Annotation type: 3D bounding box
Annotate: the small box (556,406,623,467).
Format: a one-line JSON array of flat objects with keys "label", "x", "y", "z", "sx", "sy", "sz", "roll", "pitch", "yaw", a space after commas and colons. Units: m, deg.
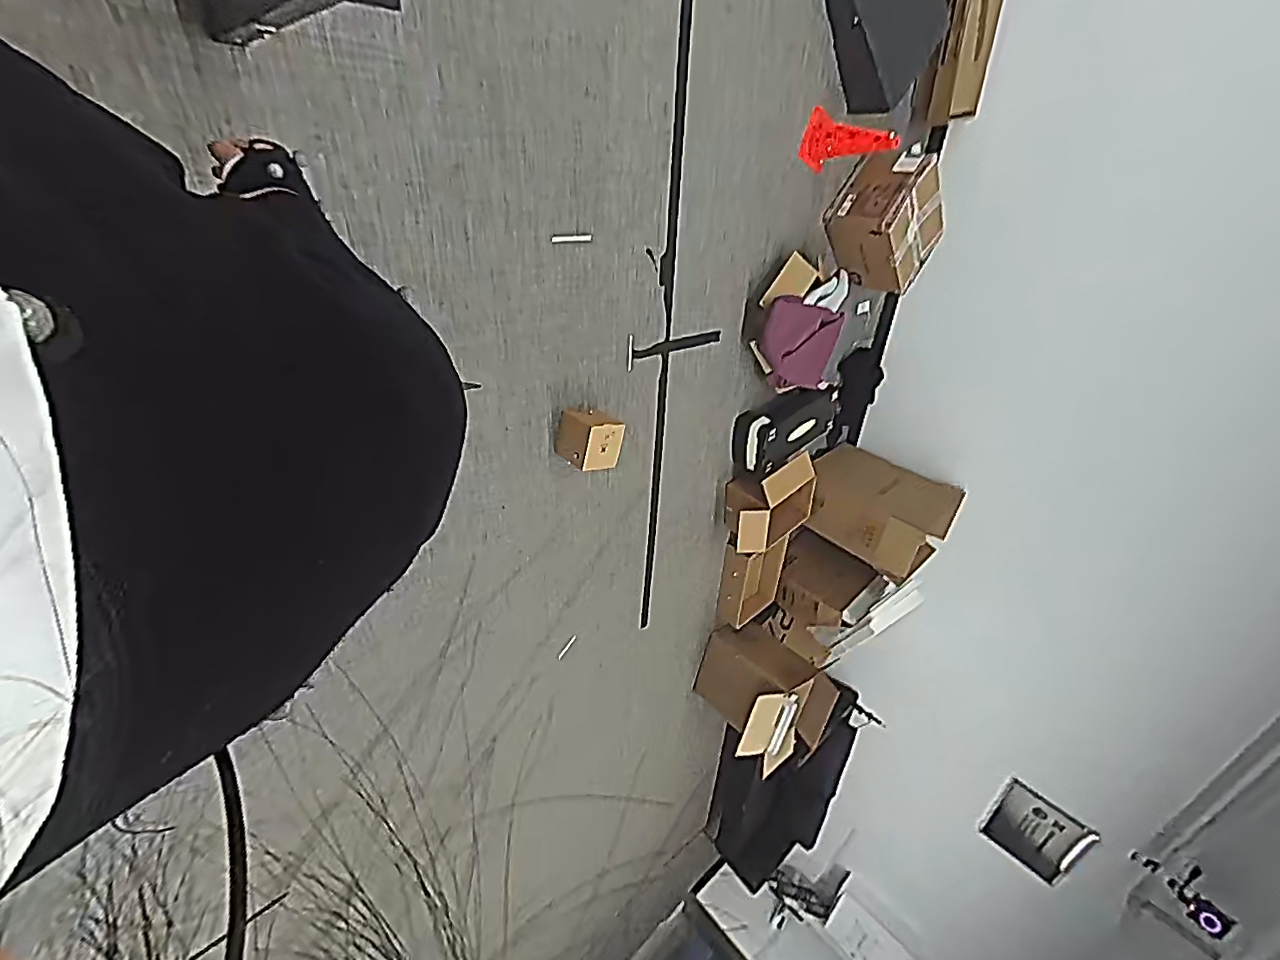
[{"label": "small box", "x": -0.192, "y": -0.164, "z": 2.000, "sx": 0.168, "sy": 0.176, "sz": 0.179, "roll": -9, "pitch": 121, "yaw": -44}]
